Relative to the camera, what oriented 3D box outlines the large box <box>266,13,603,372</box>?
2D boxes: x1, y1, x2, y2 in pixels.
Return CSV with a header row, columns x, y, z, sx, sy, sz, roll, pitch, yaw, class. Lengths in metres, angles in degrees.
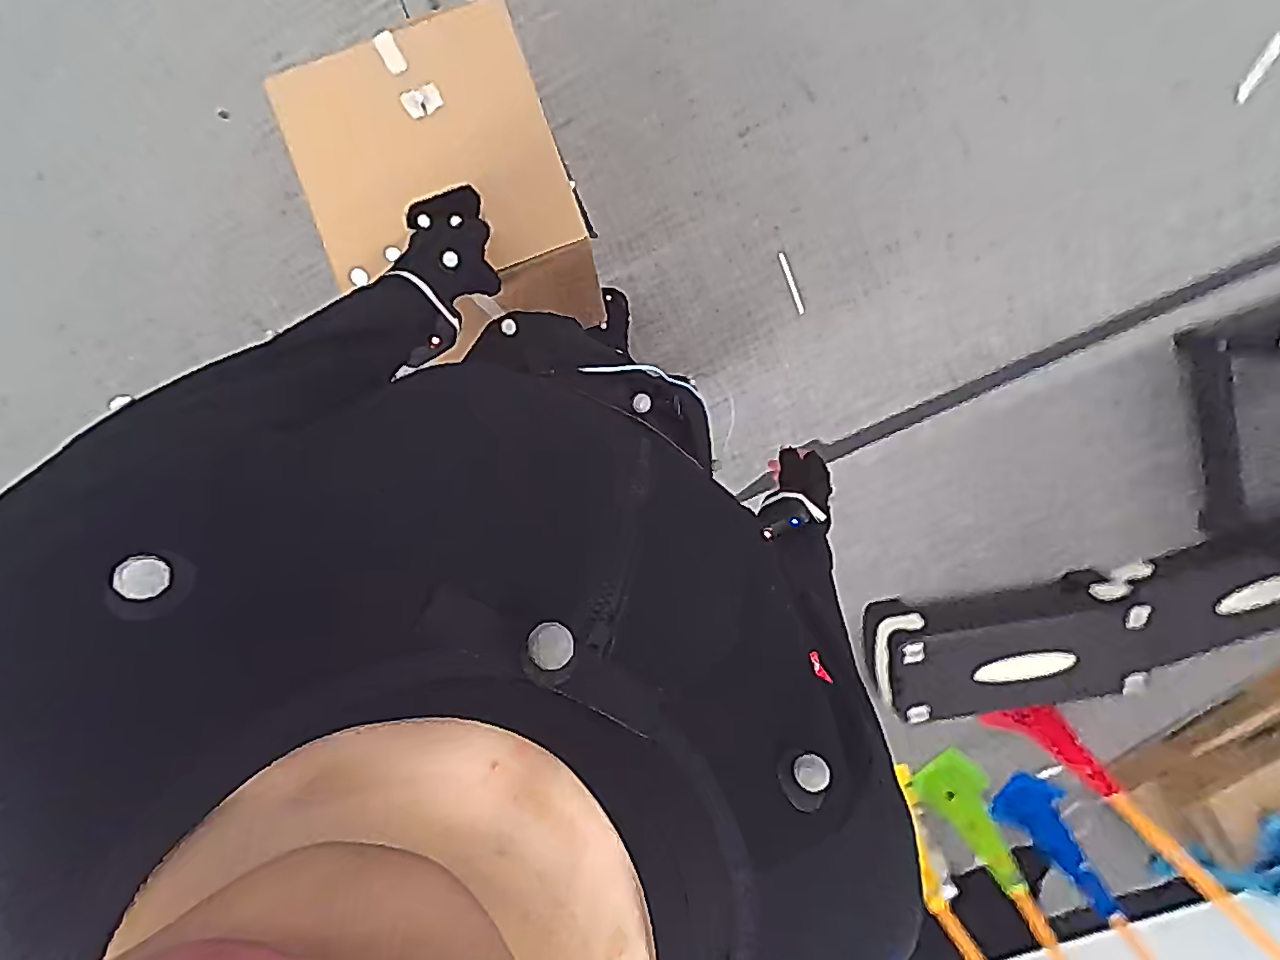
x,y,z,sx,sy,sz,roll,pitch,yaw,class
-0.274,-0.398,0.868,0.320,0.408,0.320,-20,93,2,large box
